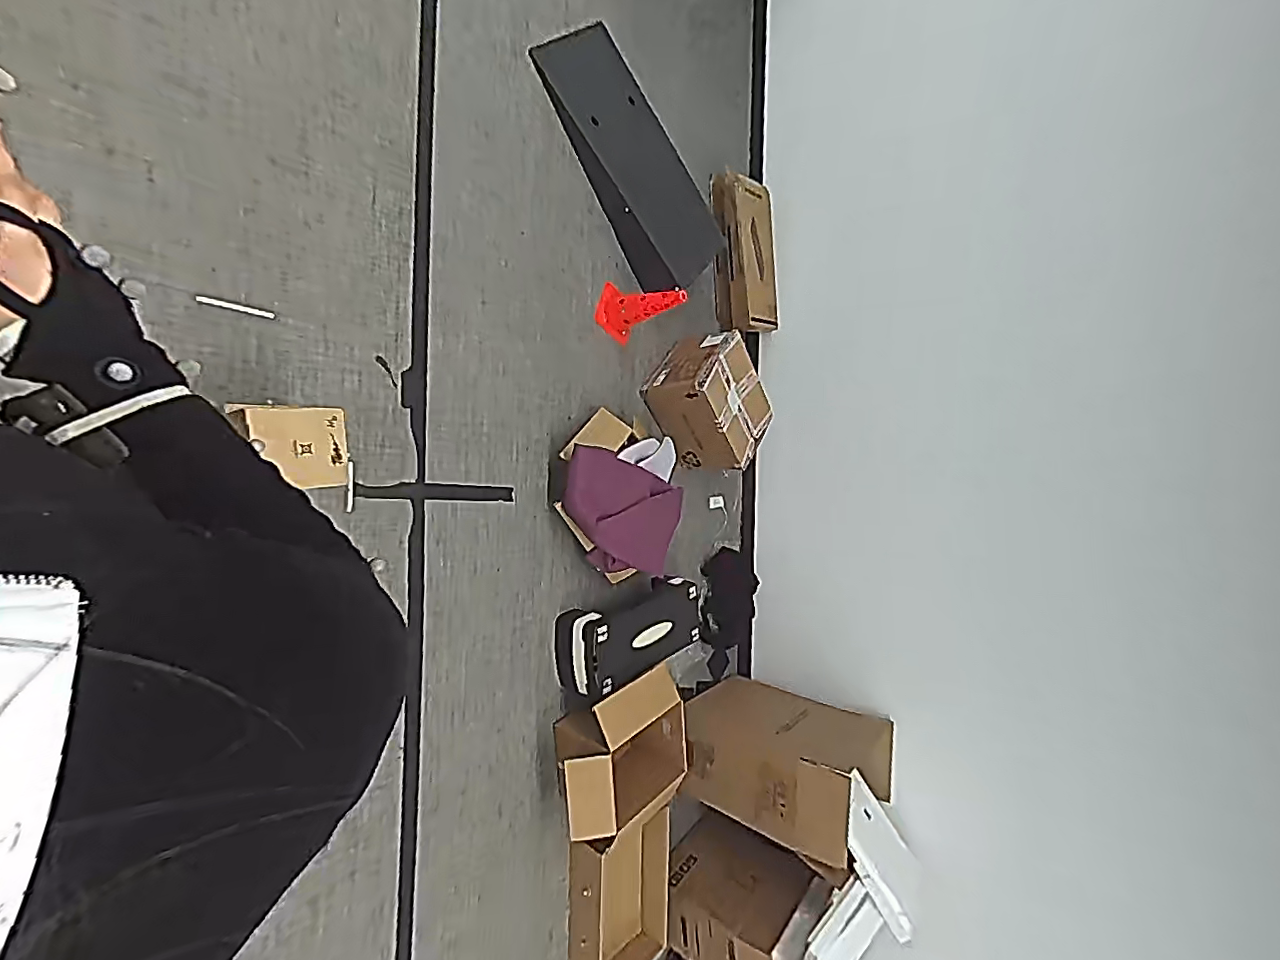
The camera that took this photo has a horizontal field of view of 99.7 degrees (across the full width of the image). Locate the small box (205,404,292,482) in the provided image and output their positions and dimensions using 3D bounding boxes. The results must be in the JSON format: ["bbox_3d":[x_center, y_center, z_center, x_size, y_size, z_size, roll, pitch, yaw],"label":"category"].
[{"bbox_3d":[-0.865,-0.083,1.239,0.179,0.176,0.168,-6,95,-48],"label":"small box"}]

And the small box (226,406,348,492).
[{"bbox_3d":[-0.742,-0.063,1.132,0.179,0.176,0.168,-8,96,-49],"label":"small box"}]
